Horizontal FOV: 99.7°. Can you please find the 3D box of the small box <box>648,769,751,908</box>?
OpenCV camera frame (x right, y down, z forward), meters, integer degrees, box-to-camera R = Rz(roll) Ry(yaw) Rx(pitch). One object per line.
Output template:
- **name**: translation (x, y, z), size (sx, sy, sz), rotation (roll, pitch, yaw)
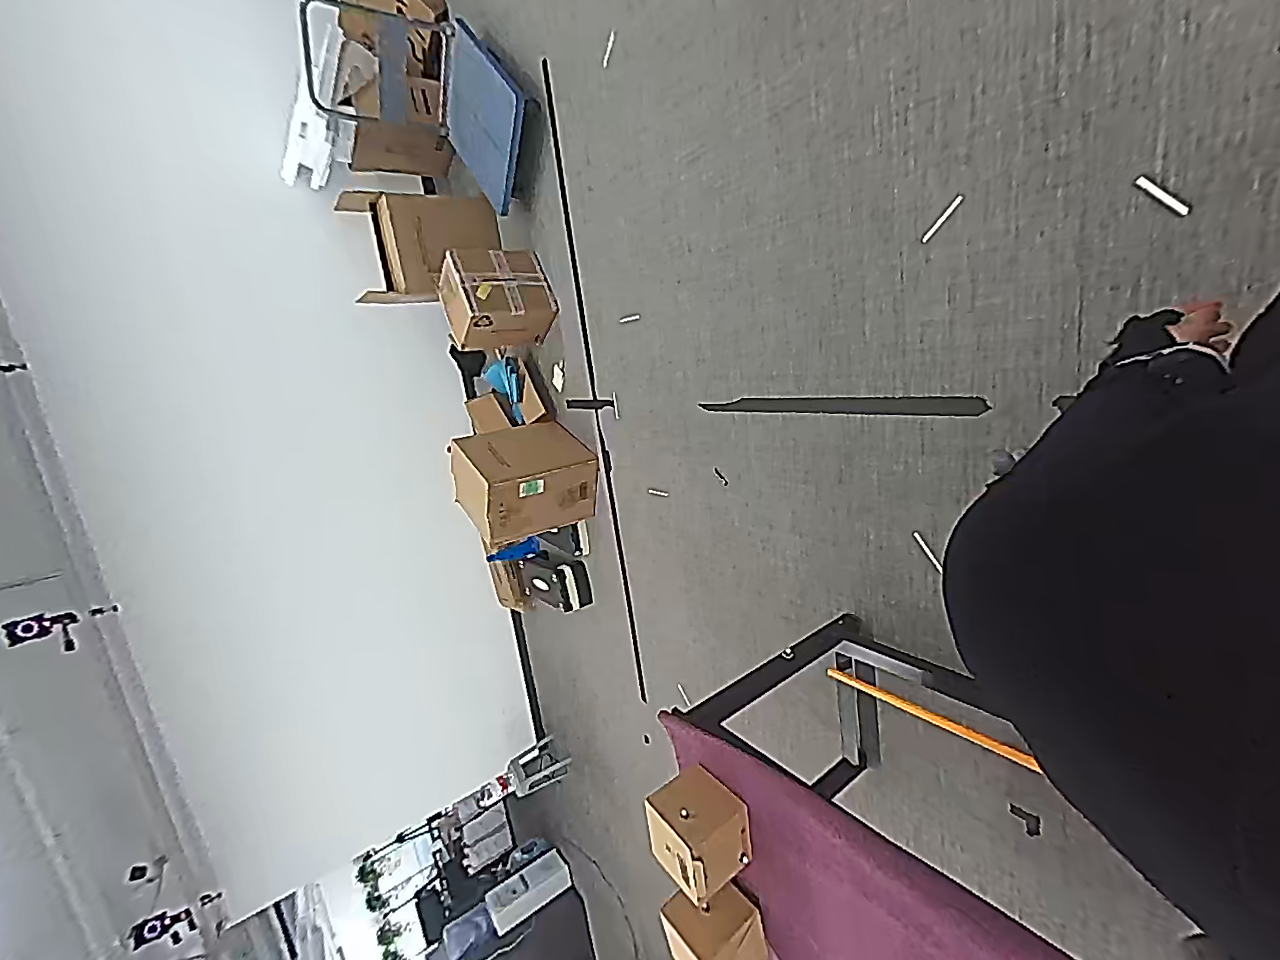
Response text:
- **small box**: translation (0.144, 0.820, 1.260), size (0.179, 0.176, 0.168), rotation (14, 116, 55)
